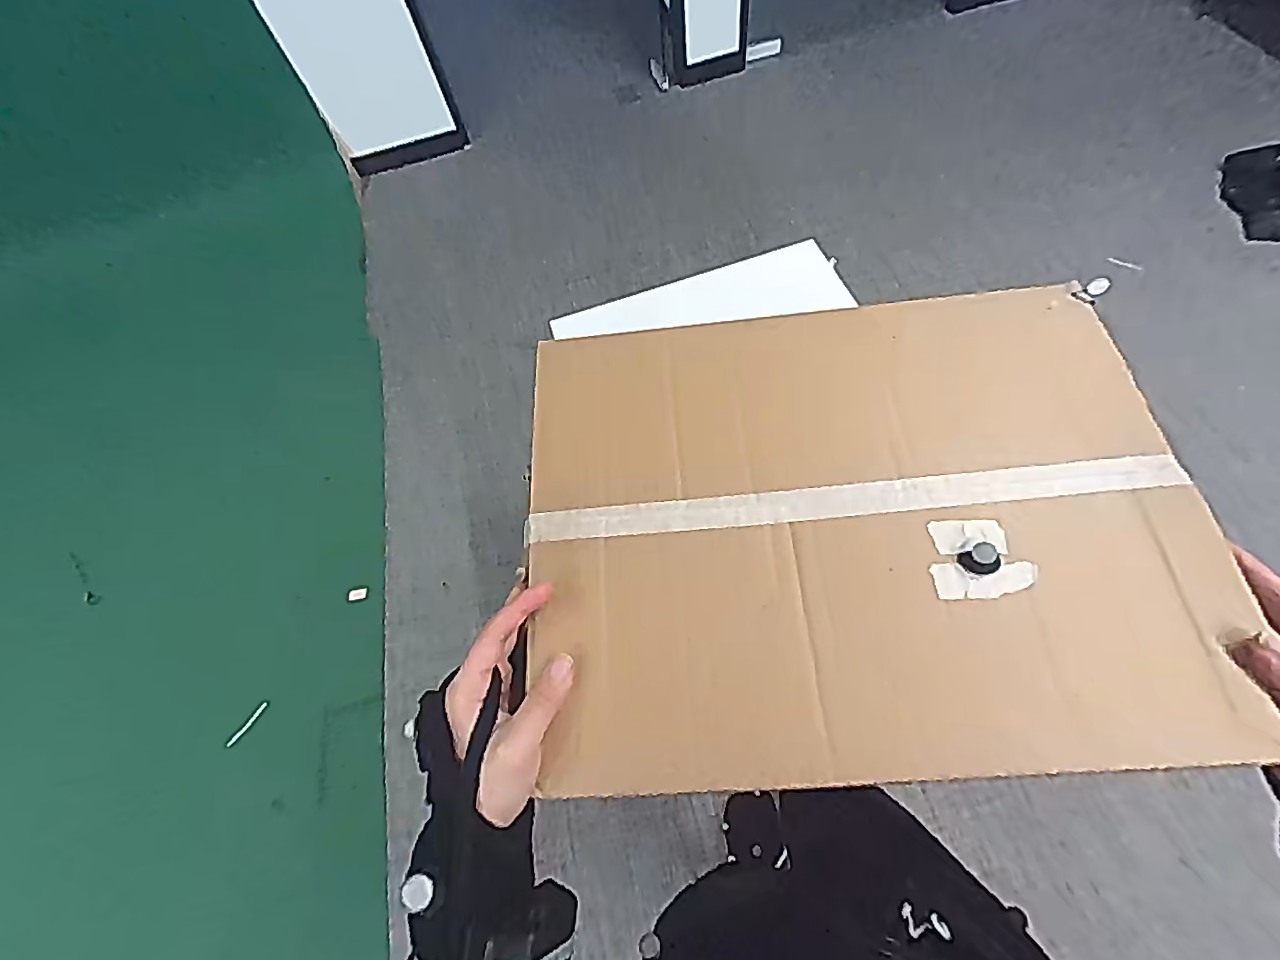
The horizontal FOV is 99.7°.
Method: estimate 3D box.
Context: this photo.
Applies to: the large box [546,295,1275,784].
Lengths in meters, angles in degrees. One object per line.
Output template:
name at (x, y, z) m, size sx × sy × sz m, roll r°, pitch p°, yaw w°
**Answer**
large box at (0.144, 0.077, 0.493) m, size 0.408 × 0.320 × 0.320 m, roll -5°, pitch 65°, yaw 3°
